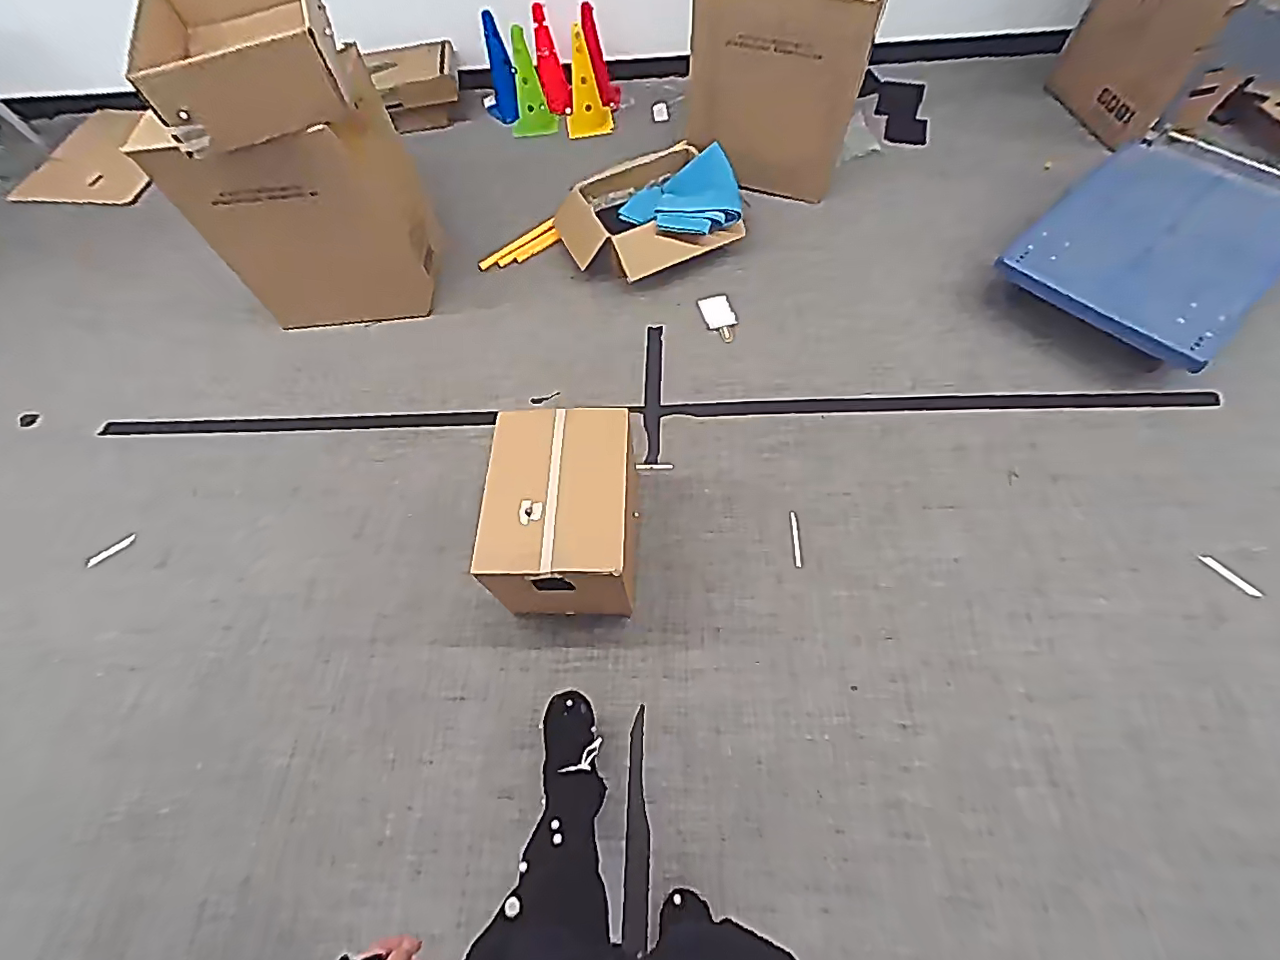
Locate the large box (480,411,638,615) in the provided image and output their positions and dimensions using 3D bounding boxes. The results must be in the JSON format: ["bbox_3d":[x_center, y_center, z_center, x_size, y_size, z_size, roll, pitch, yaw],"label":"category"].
[{"bbox_3d":[-0.166,0.088,1.302,0.320,0.320,0.408,-2,62,4],"label":"large box"}]
